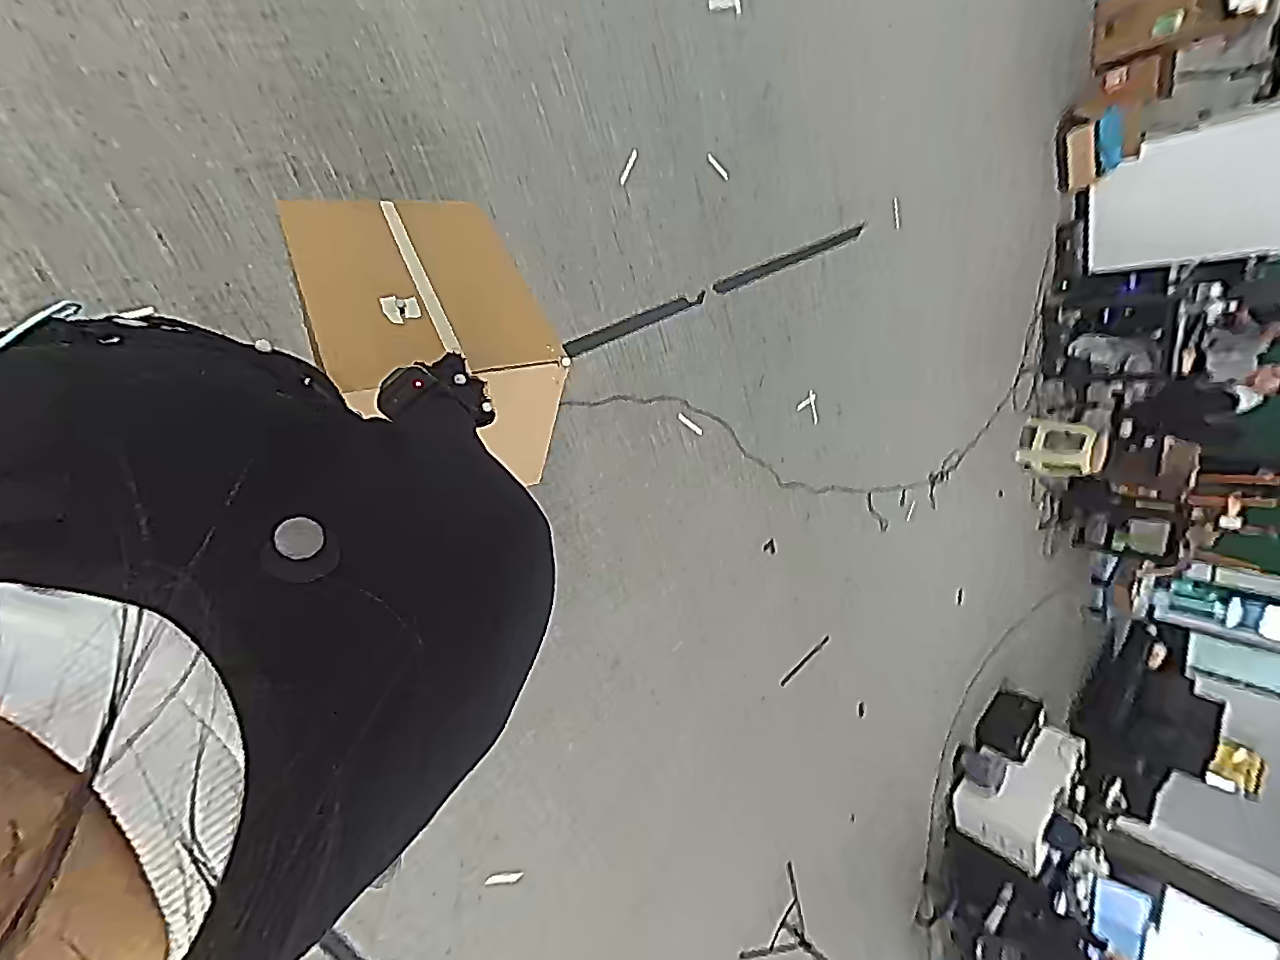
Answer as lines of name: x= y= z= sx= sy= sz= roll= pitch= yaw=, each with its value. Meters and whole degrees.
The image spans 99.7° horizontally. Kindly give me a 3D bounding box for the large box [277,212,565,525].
large box: x=-0.374 y=-0.196 z=0.923 sx=0.320 sy=0.320 sz=0.408 roll=-16 pitch=62 yaw=-29
